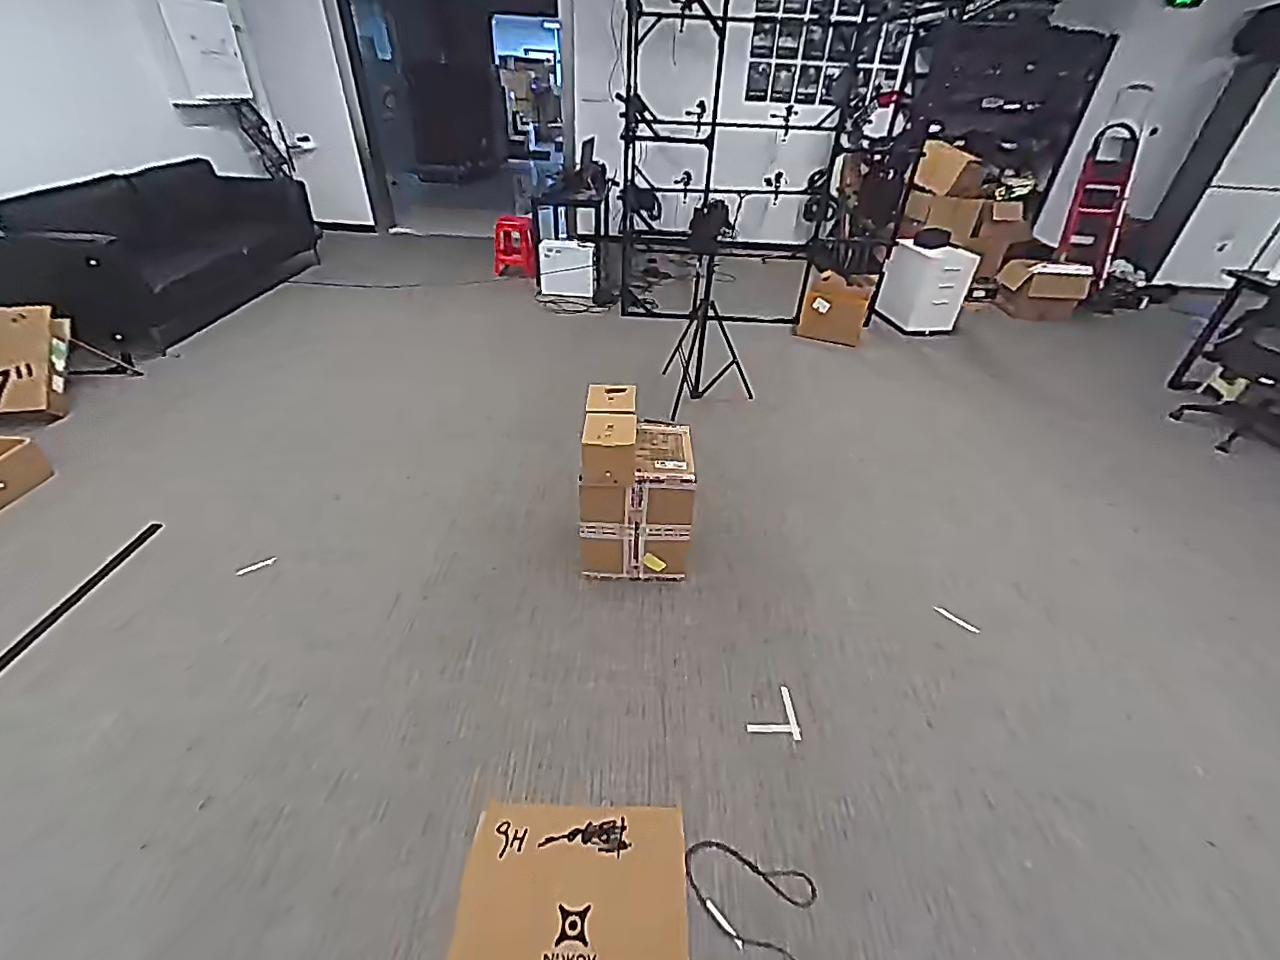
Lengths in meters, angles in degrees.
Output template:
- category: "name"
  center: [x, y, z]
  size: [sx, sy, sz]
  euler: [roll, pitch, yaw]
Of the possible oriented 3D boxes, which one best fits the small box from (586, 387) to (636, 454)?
- category: "small box"
  center: [-0.097, -0.211, 1.902]
  size: [0.168, 0.176, 0.179]
  euler: [0, 39, 0]
